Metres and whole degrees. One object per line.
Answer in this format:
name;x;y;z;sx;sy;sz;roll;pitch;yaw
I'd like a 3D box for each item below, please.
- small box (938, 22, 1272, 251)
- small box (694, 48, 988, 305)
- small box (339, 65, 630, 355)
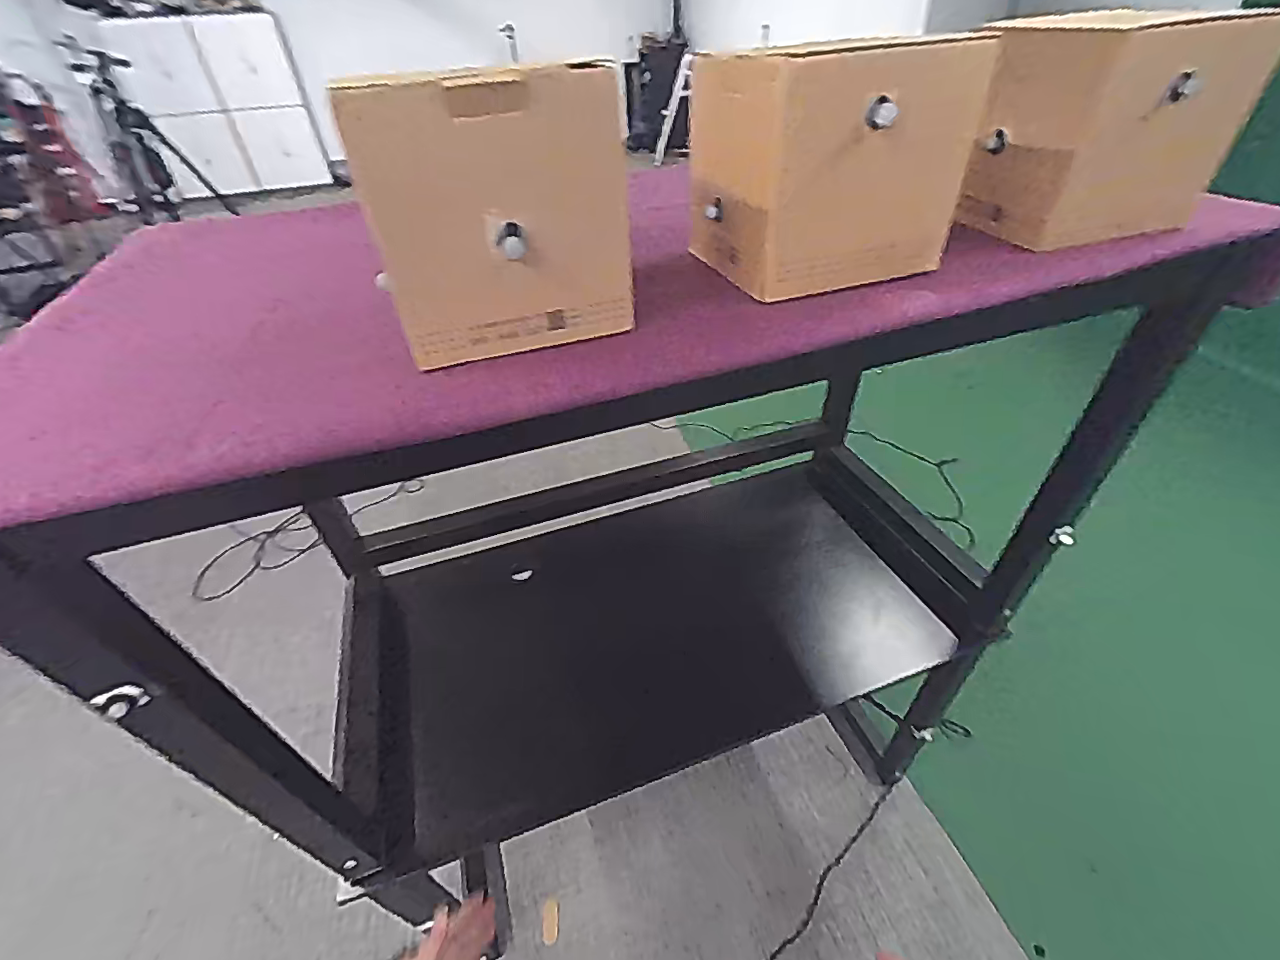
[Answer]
small box;0.429;-0.344;0.546;0.179;0.176;0.168;-12;42;-10
small box;0.155;-0.277;0.488;0.179;0.176;0.168;-15;40;-12
small box;-0.111;-0.210;0.424;0.168;0.176;0.179;-15;40;-13
